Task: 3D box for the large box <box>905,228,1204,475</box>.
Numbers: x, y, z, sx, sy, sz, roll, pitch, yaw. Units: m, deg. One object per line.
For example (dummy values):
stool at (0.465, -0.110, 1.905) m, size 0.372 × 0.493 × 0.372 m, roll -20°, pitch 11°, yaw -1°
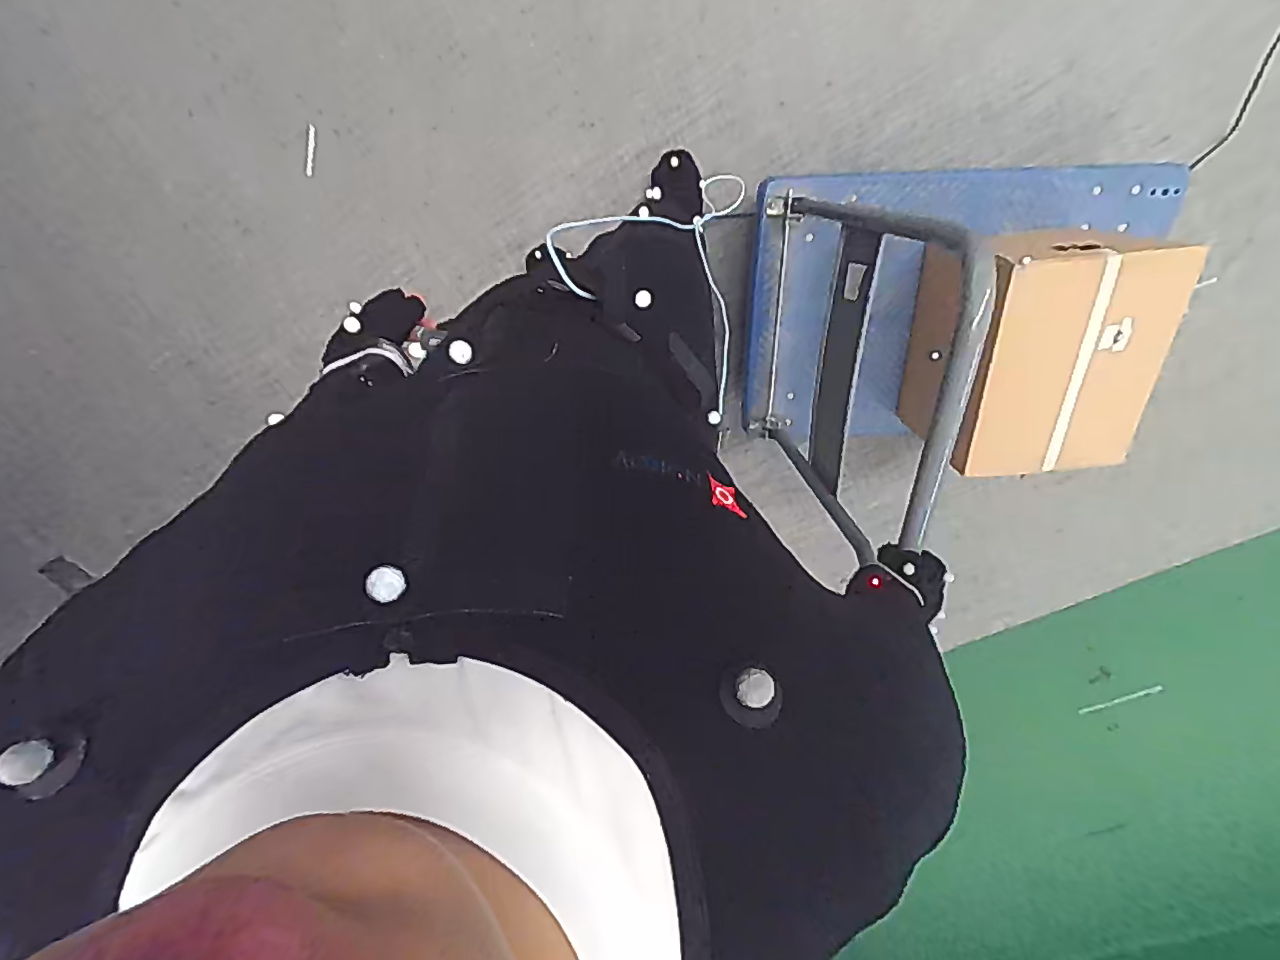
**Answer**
large box at (0.774, -0.266, 1.095) m, size 0.320 × 0.320 × 0.408 m, roll -5°, pitch 119°, yaw 2°
